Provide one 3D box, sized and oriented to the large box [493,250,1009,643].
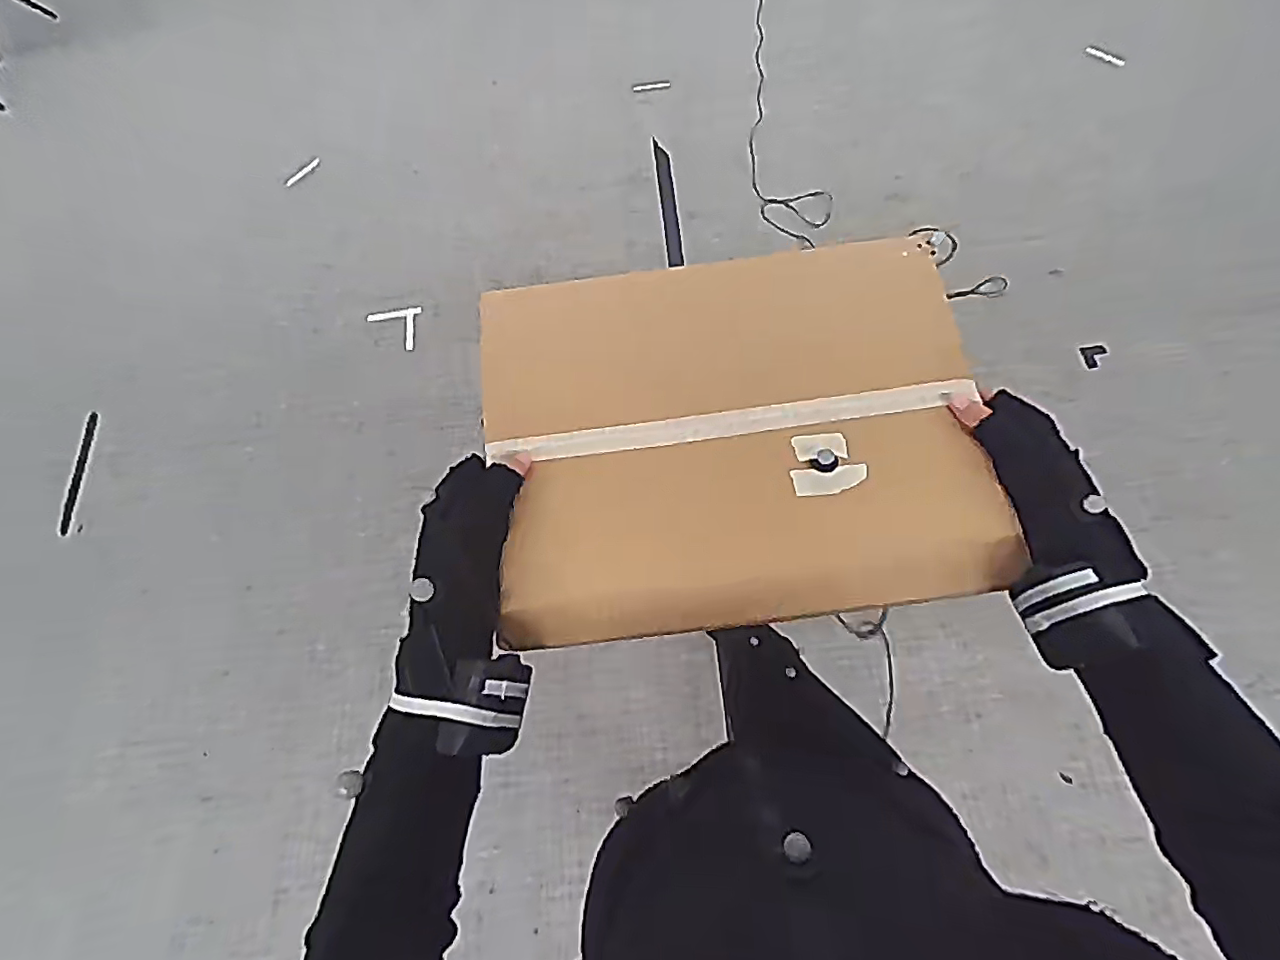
[{"bbox_3d":[0.082,-0.002,0.610,0.408,0.320,0.320,-8,74,0],"label":"large box"}]
